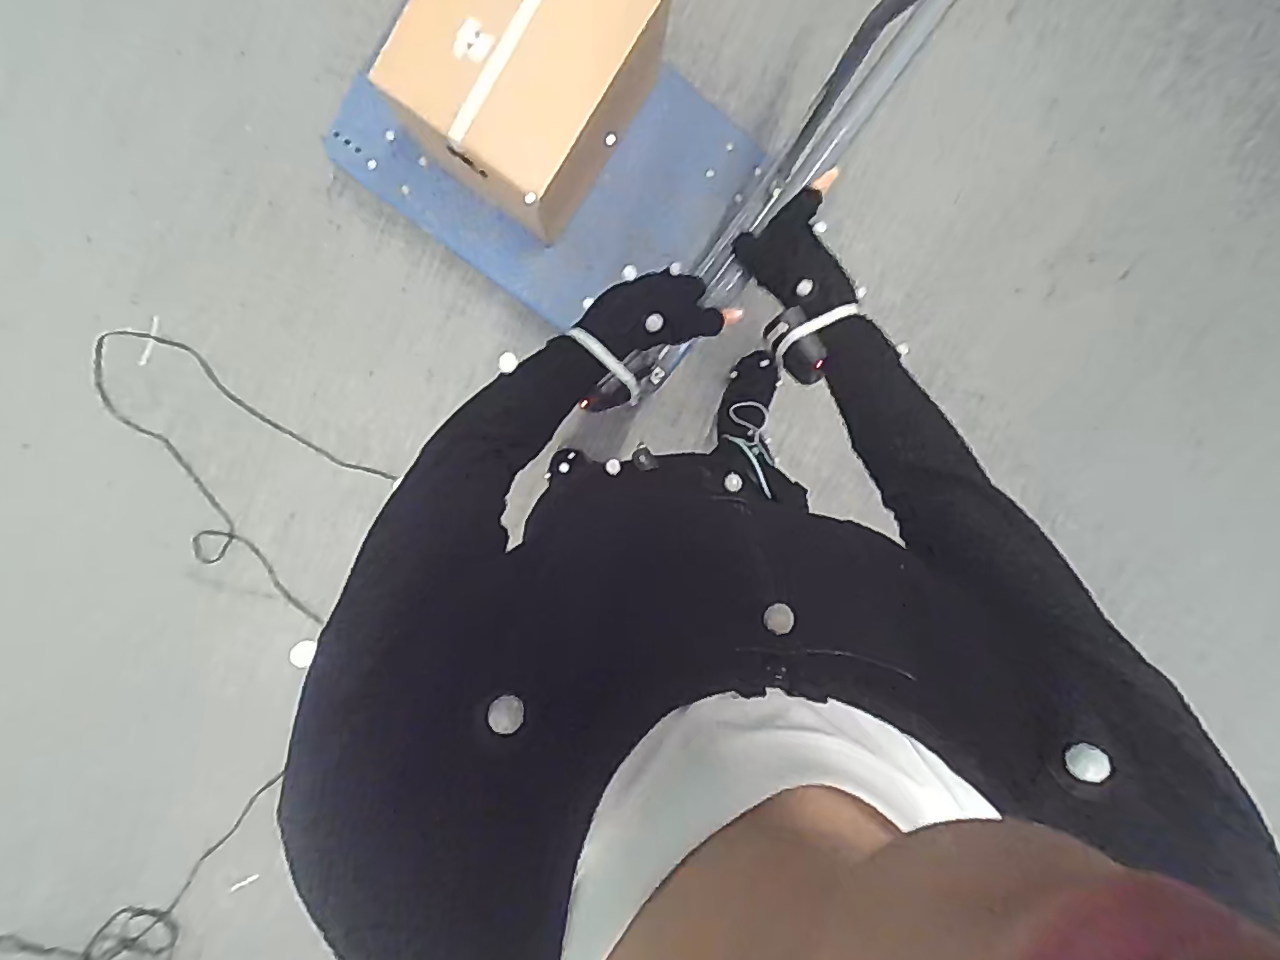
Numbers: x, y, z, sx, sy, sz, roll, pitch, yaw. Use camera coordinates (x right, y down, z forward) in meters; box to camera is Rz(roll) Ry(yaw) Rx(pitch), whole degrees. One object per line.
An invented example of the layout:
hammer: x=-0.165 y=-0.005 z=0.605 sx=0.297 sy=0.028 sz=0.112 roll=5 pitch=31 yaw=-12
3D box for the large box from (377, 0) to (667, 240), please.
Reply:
large box: x=-0.189 y=-0.734 z=0.989 sx=0.320 sy=0.320 sz=0.408 roll=34 pitch=98 yaw=-8
